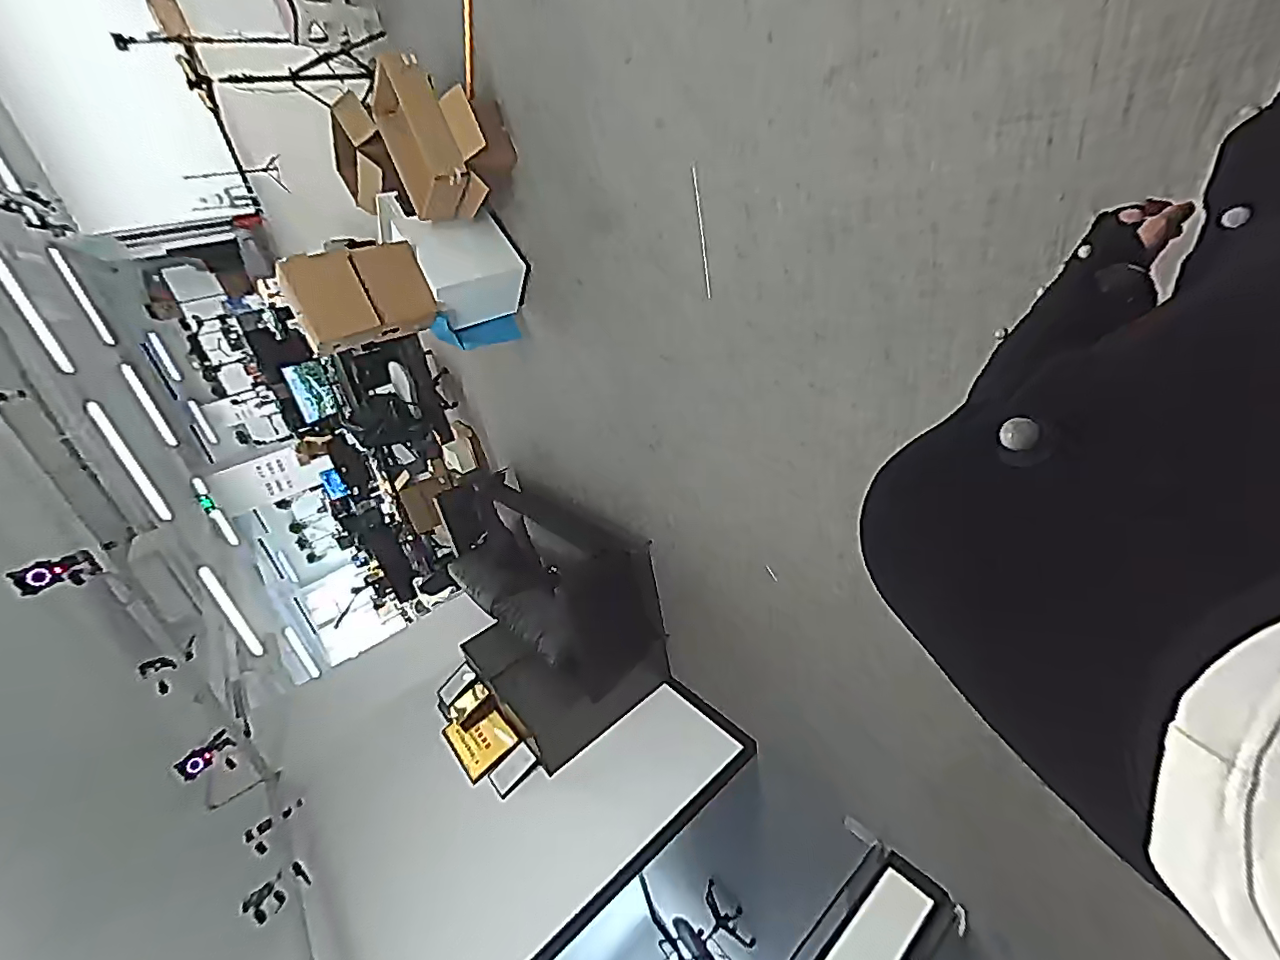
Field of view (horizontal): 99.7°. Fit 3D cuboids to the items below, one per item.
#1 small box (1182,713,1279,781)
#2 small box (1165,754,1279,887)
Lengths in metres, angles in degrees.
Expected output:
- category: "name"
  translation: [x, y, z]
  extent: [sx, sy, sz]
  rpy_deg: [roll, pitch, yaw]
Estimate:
- category: "small box"
  translation: [1.509, 0.709, 1.332]
  extent: [0.179, 0.176, 0.168]
  rpy_deg: [31, 138, 41]
- category: "small box"
  translation: [1.380, 0.770, 1.247]
  extent: [0.179, 0.176, 0.168]
  rpy_deg: [30, 138, 42]
